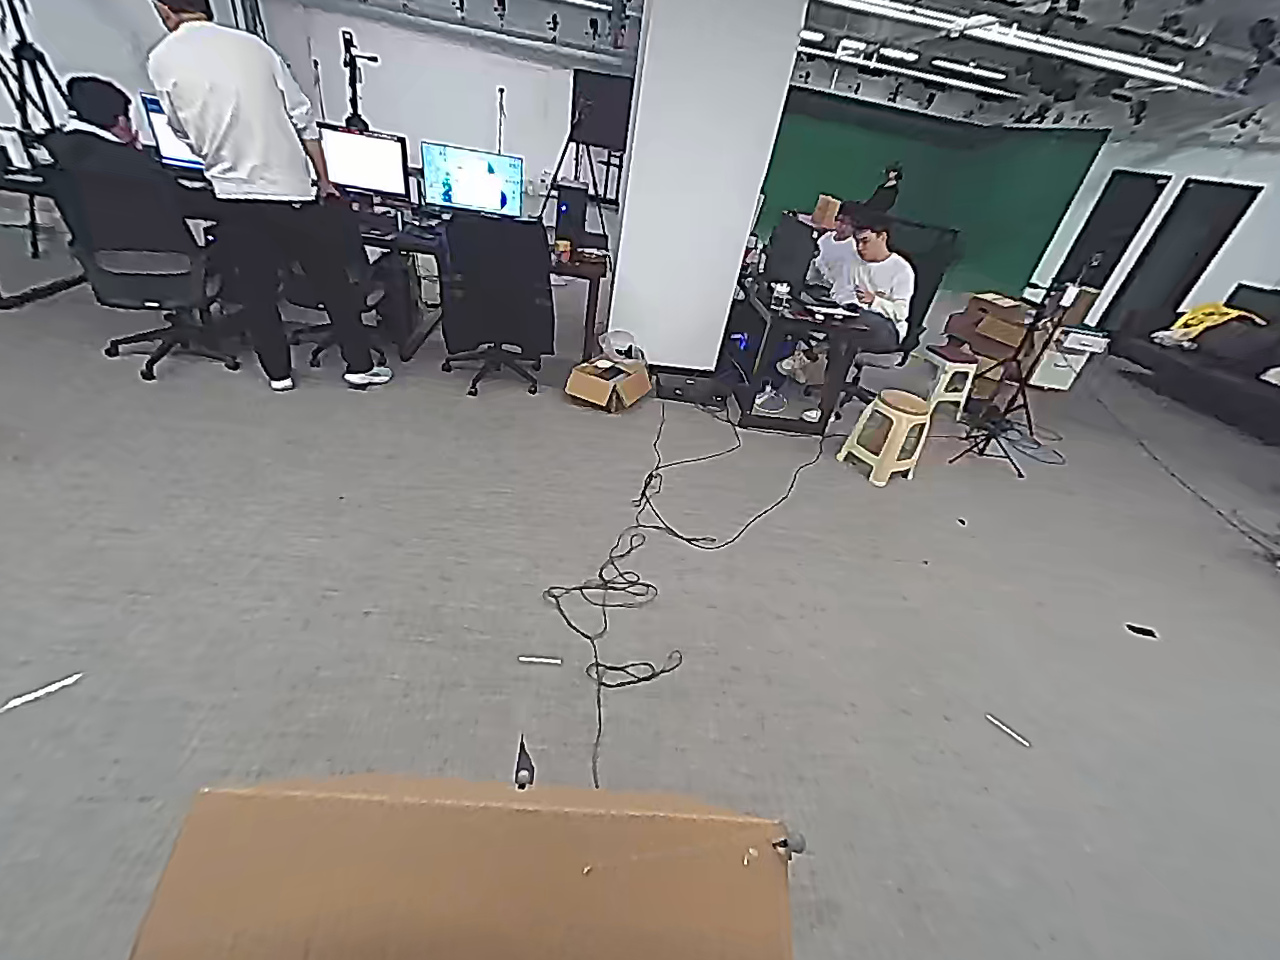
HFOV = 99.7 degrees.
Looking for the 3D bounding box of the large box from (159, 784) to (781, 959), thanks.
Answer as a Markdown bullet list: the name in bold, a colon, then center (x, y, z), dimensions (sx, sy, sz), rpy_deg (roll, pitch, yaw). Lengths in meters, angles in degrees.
- **large box**: center (-0.123, 0.438, 0.450), dimensions (0.408, 0.320, 0.320), rpy_deg (6, 63, -5)
